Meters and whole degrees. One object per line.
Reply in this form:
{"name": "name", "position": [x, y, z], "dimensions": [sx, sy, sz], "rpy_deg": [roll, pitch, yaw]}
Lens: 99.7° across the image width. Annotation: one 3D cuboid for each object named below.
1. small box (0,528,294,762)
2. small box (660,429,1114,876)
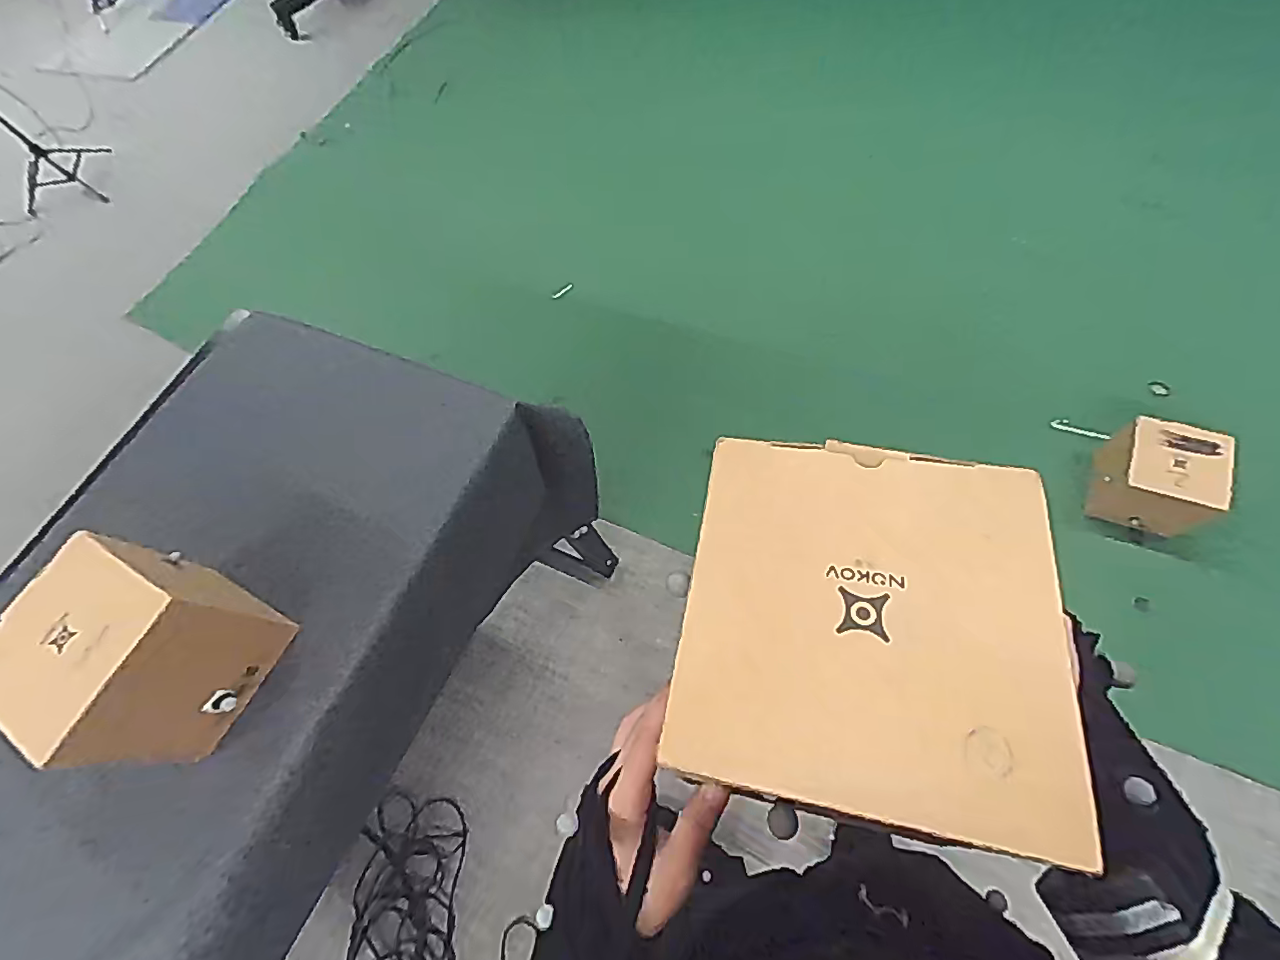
{"name": "small box", "position": [-0.535, 0.178, 0.584], "dimensions": [0.179, 0.176, 0.168], "rpy_deg": [21, 72, 19]}
{"name": "small box", "position": [0.118, 0.095, 0.313], "dimensions": [0.168, 0.176, 0.179], "rpy_deg": [7, 60, 14]}
